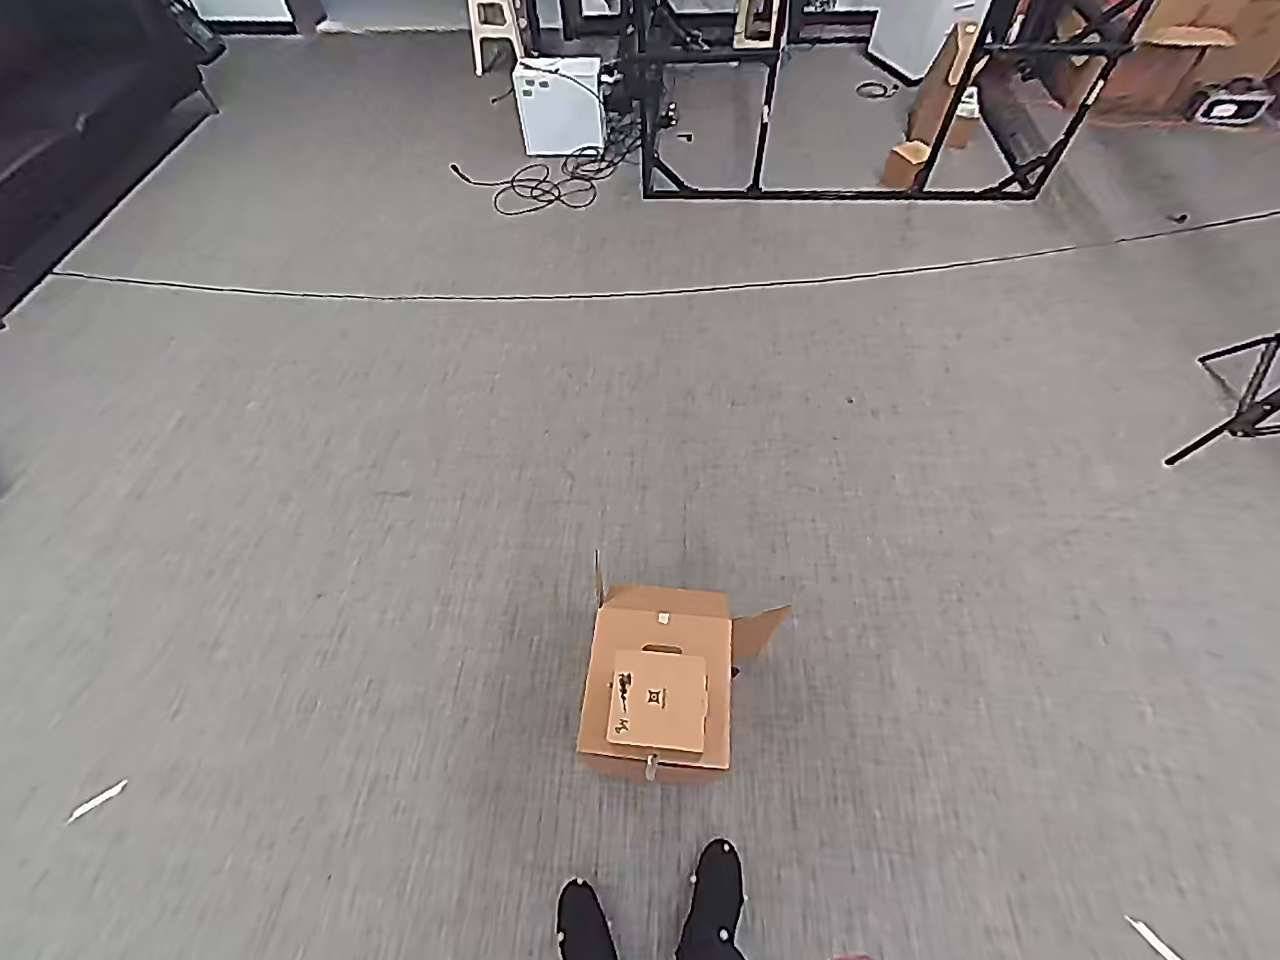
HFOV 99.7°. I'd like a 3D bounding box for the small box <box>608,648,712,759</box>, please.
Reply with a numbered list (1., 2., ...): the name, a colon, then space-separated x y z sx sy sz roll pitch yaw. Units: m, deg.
1. small box: 0.040 0.437 1.048 0.179 0.176 0.168 5 59 4
